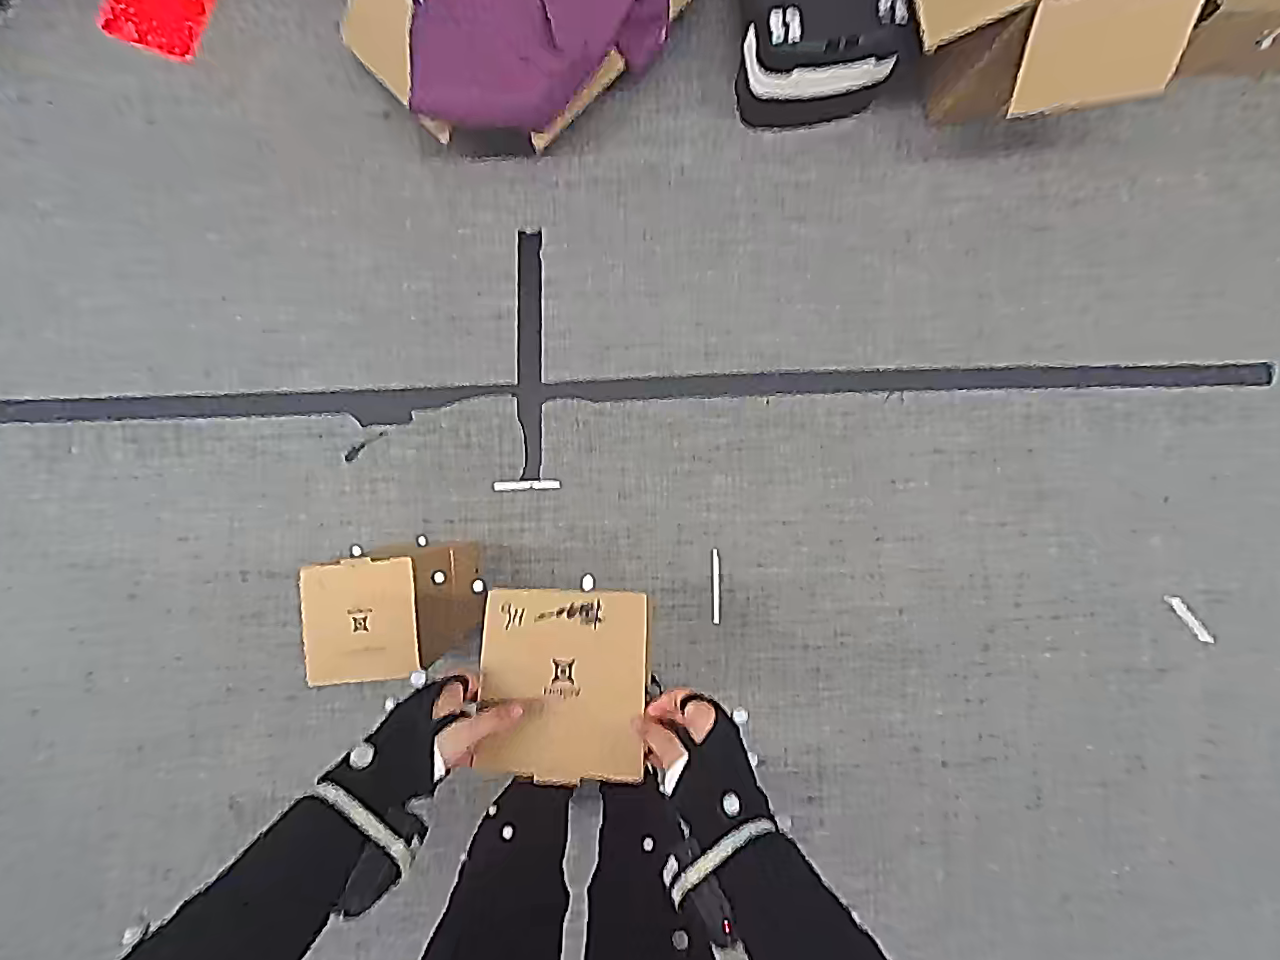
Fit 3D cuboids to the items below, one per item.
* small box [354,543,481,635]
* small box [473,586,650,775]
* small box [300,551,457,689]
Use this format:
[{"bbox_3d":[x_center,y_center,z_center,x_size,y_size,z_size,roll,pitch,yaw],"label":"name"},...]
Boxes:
[{"bbox_3d":[-0.413,0.212,1.023,0.179,0.176,0.168,-3,89,-2],"label":"small box"},{"bbox_3d":[-0.075,0.214,0.618,0.168,0.176,0.179,1,76,4],"label":"small box"},{"bbox_3d":[-0.404,0.210,0.861,0.168,0.176,0.179,-6,90,0],"label":"small box"}]
